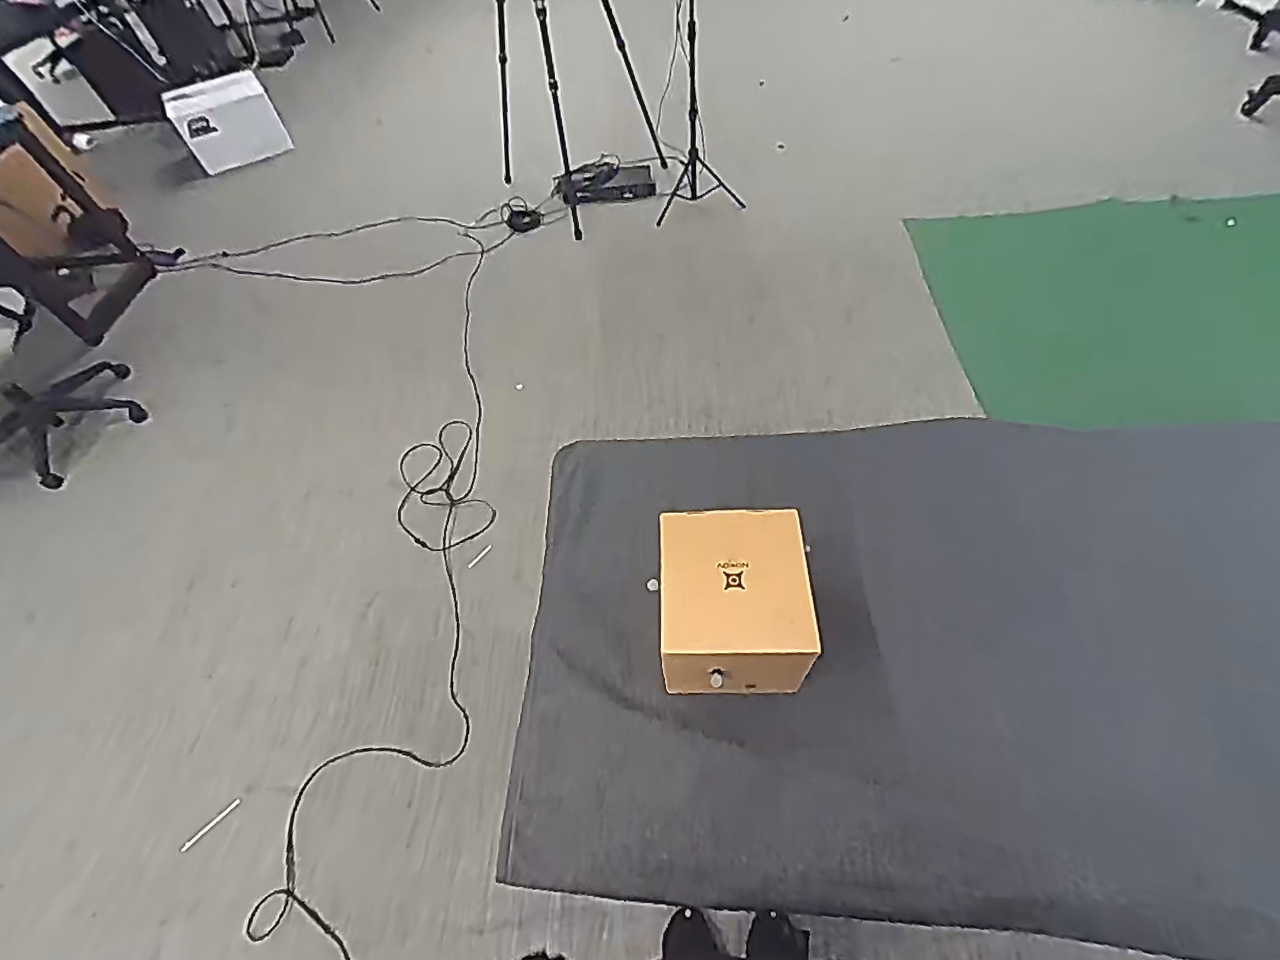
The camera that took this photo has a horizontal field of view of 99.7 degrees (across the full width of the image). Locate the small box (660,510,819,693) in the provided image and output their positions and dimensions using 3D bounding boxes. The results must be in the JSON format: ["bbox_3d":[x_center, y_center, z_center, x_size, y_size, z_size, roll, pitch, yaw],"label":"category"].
[{"bbox_3d":[0.113,0.156,0.666,0.168,0.176,0.179,-2,54,5],"label":"small box"}]
